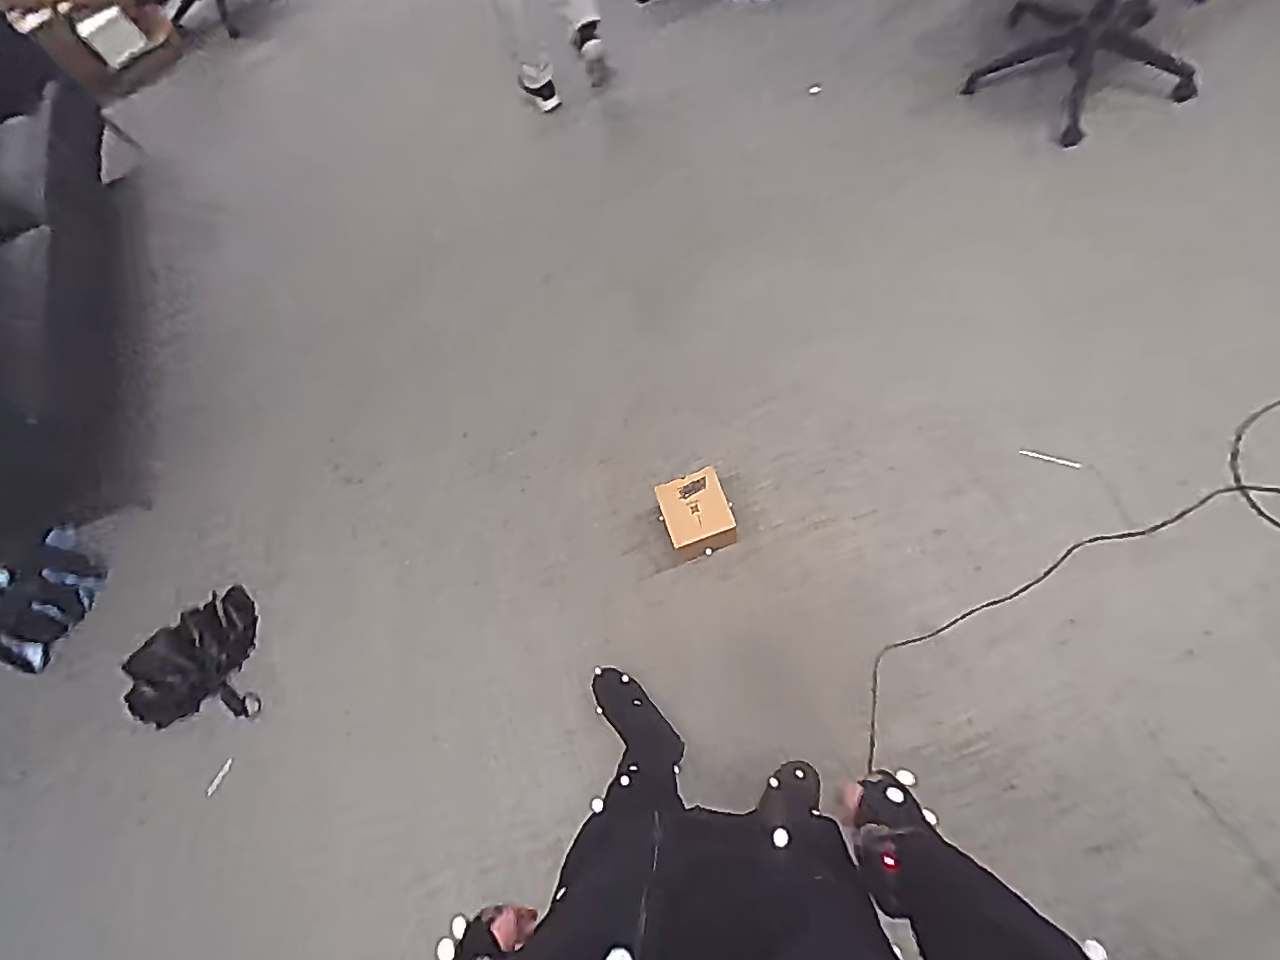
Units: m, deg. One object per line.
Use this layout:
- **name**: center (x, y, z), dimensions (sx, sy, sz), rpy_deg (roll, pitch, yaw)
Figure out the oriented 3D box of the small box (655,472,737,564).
- **small box**: center (0.154, 0.108, 1.451), dimensions (0.168, 0.176, 0.179), rpy_deg (-21, 68, 5)
